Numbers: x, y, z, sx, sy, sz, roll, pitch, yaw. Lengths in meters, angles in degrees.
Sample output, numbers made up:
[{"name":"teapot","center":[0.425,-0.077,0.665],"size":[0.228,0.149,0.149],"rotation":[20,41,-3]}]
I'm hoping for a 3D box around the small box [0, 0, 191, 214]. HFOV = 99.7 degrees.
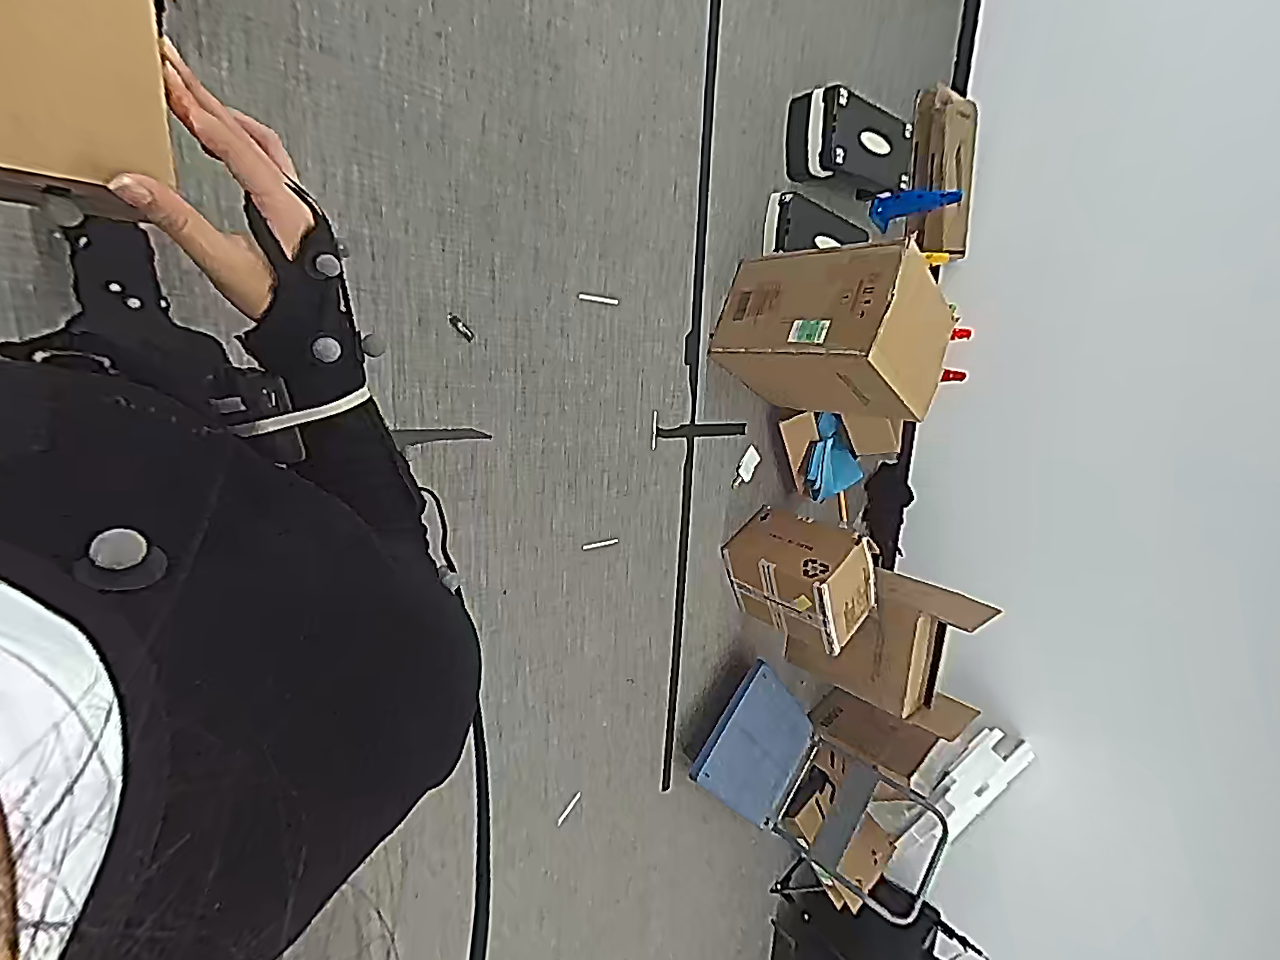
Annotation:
[{"name":"small box","center":[-0.339,-0.234,0.254],"size":[0.179,0.176,0.168],"rotation":[-8,110,-41]}]
